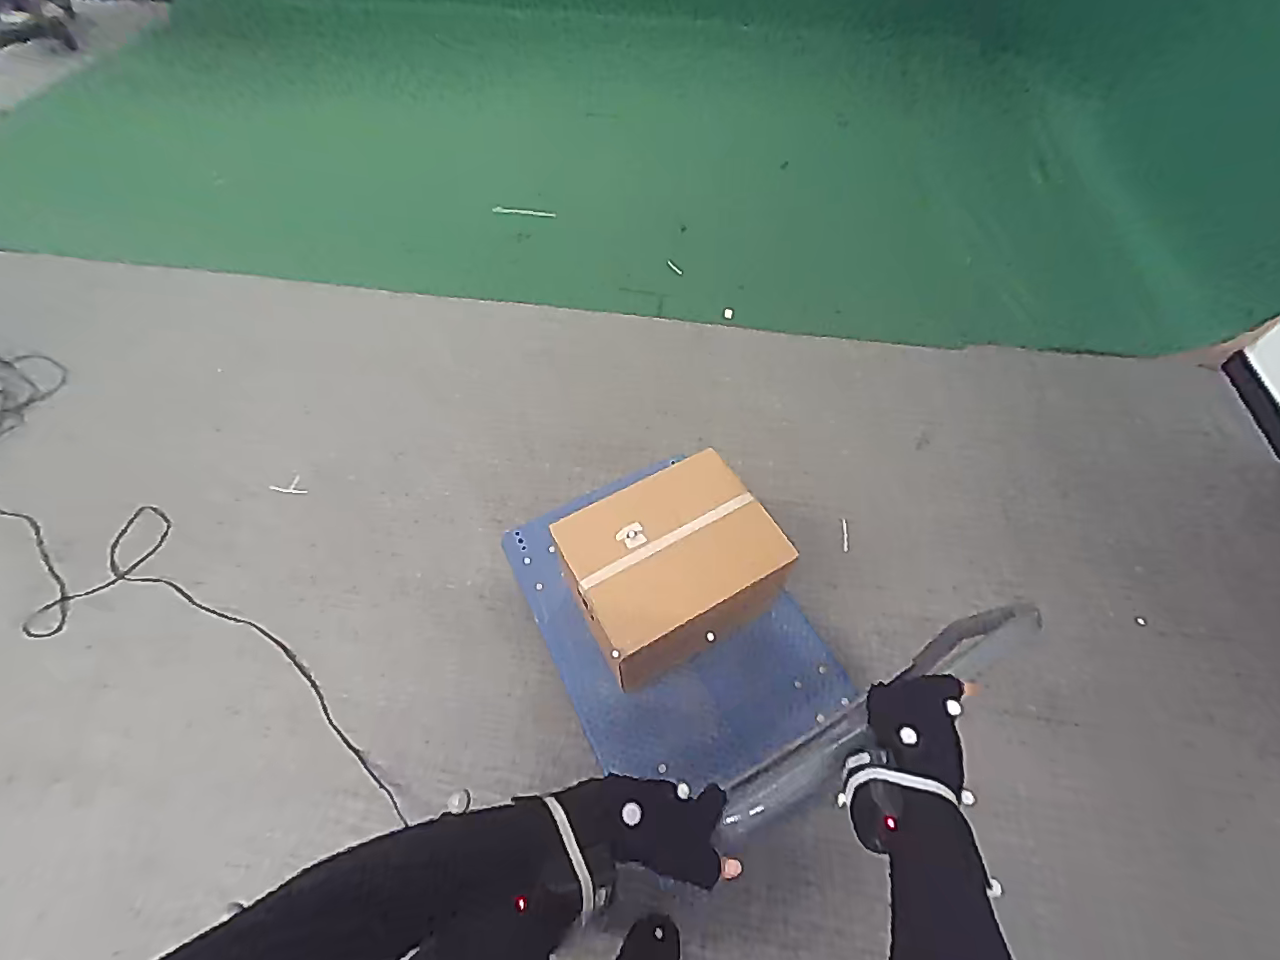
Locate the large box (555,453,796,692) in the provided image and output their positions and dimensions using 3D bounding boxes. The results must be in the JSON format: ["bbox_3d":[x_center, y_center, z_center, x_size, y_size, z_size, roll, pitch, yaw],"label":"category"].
[{"bbox_3d":[0.071,0.211,1.217,0.408,0.320,0.320,-27,60,-15],"label":"large box"}]
